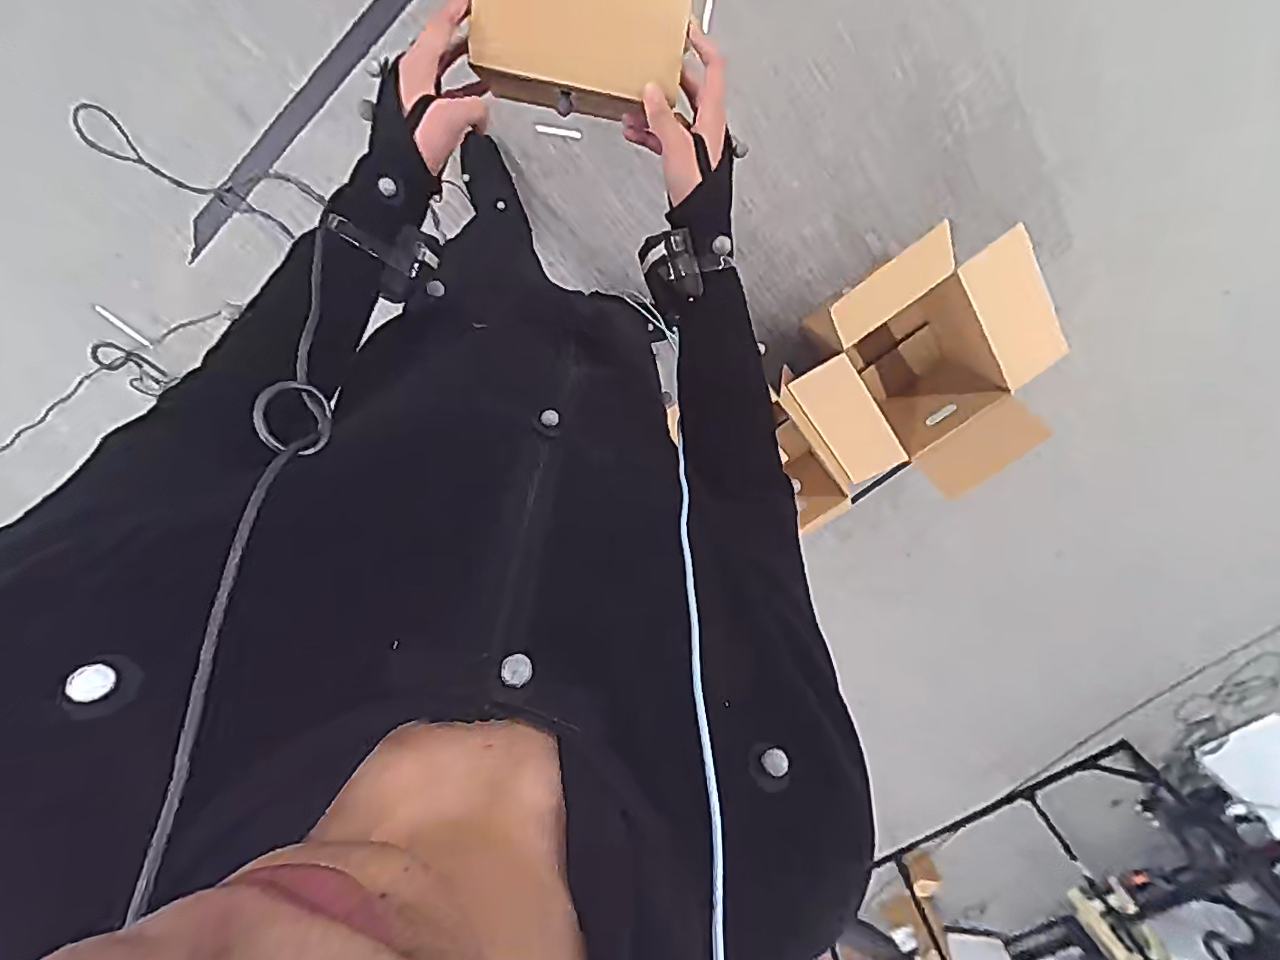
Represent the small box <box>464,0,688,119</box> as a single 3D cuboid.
[{"bbox_3d":[-0.053,-0.437,0.482,0.179,0.176,0.168,5,118,-9],"label":"small box"}]
